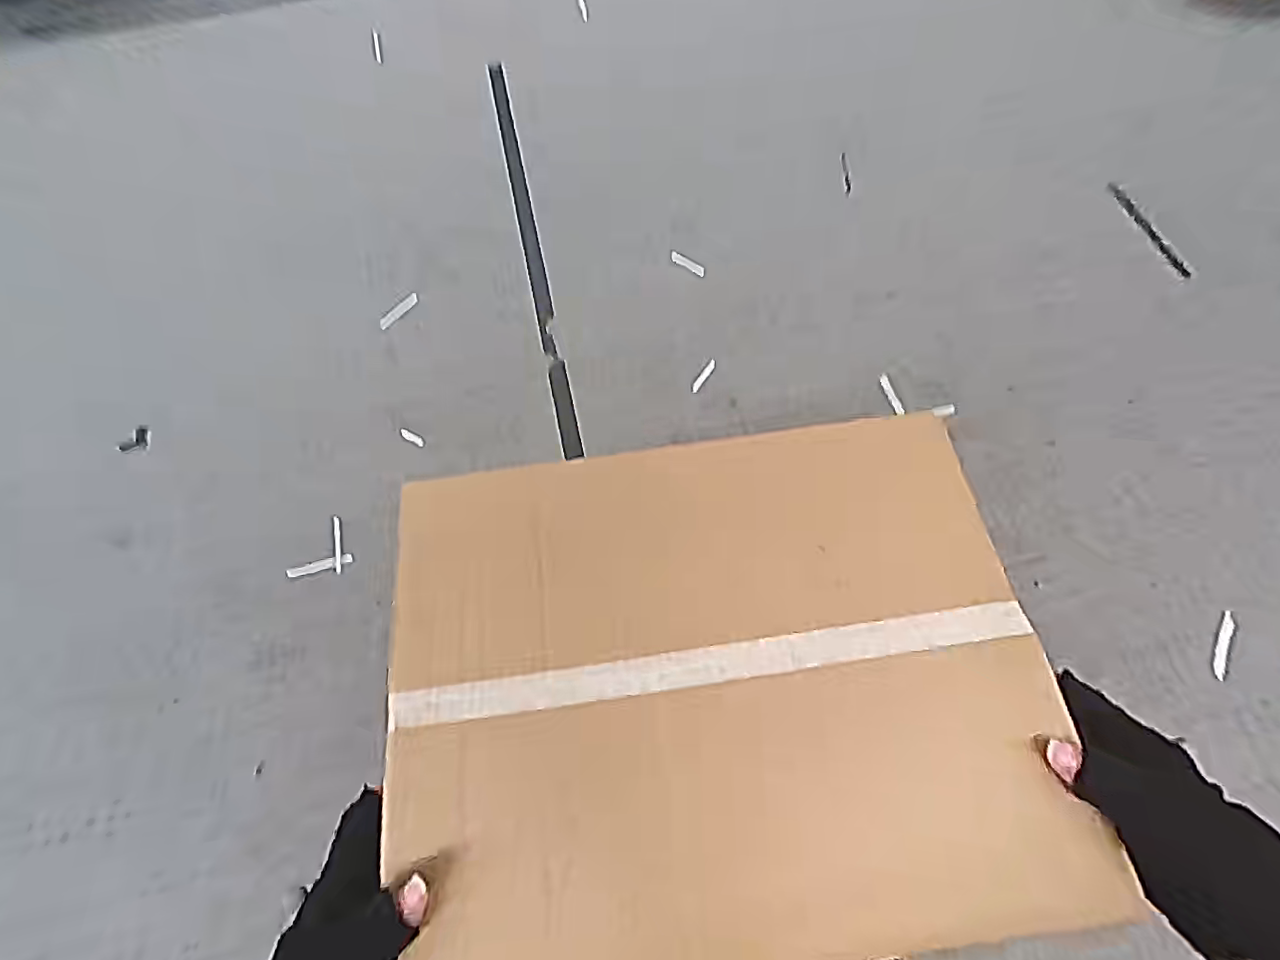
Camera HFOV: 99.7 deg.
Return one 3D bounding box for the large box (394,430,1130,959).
[{"bbox_3d":[0.054,0.188,0.477,0.408,0.320,0.320,-8,65,-1],"label":"large box"}]
